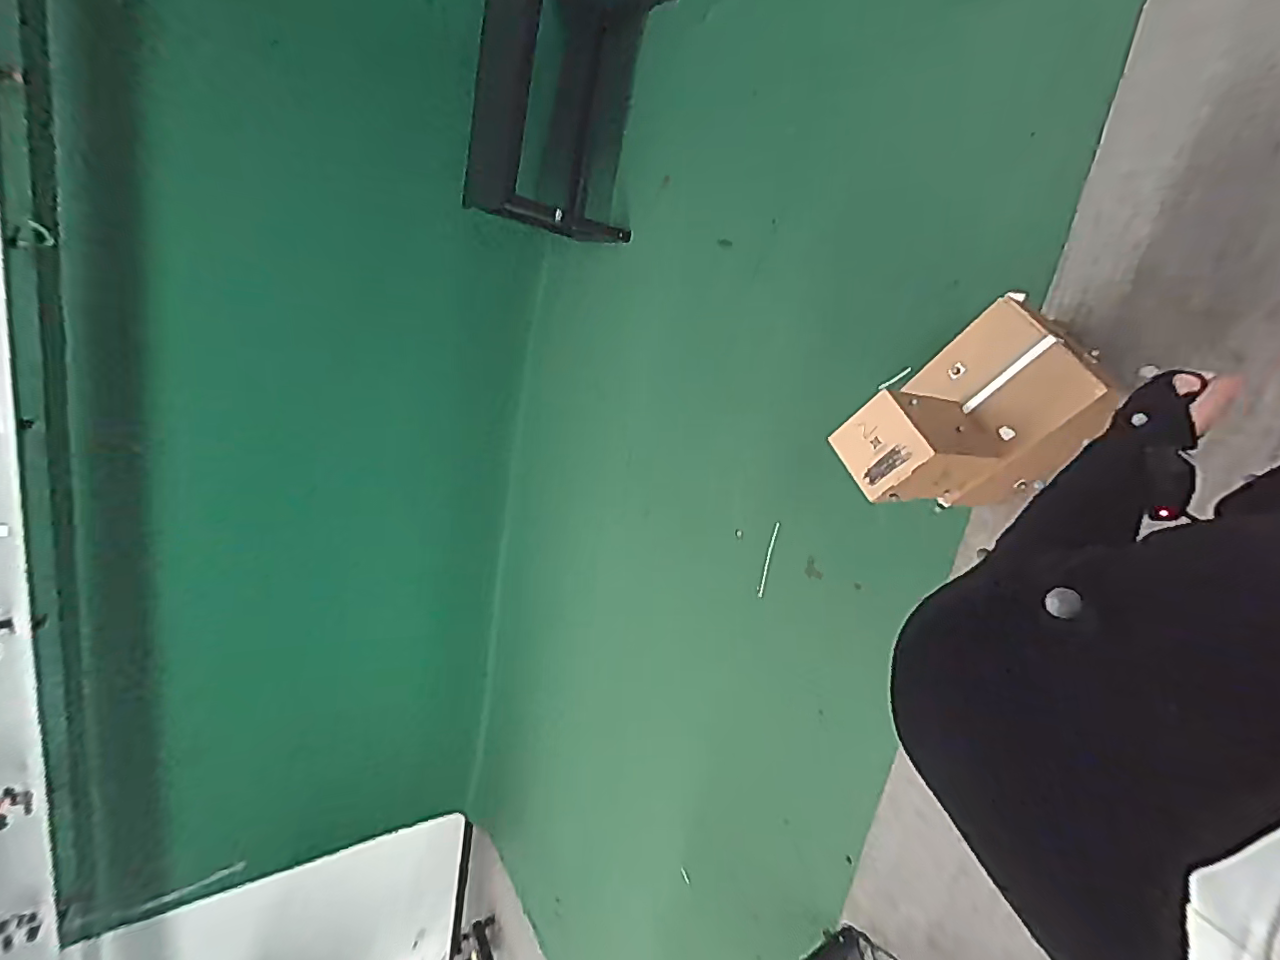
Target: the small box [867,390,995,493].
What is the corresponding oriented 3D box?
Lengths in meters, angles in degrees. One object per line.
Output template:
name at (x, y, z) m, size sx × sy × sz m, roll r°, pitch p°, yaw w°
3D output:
small box at (0.678, -0.087, 1.258) m, size 0.168 × 0.176 × 0.179 m, roll -48°, pitch 54°, yaw 40°
